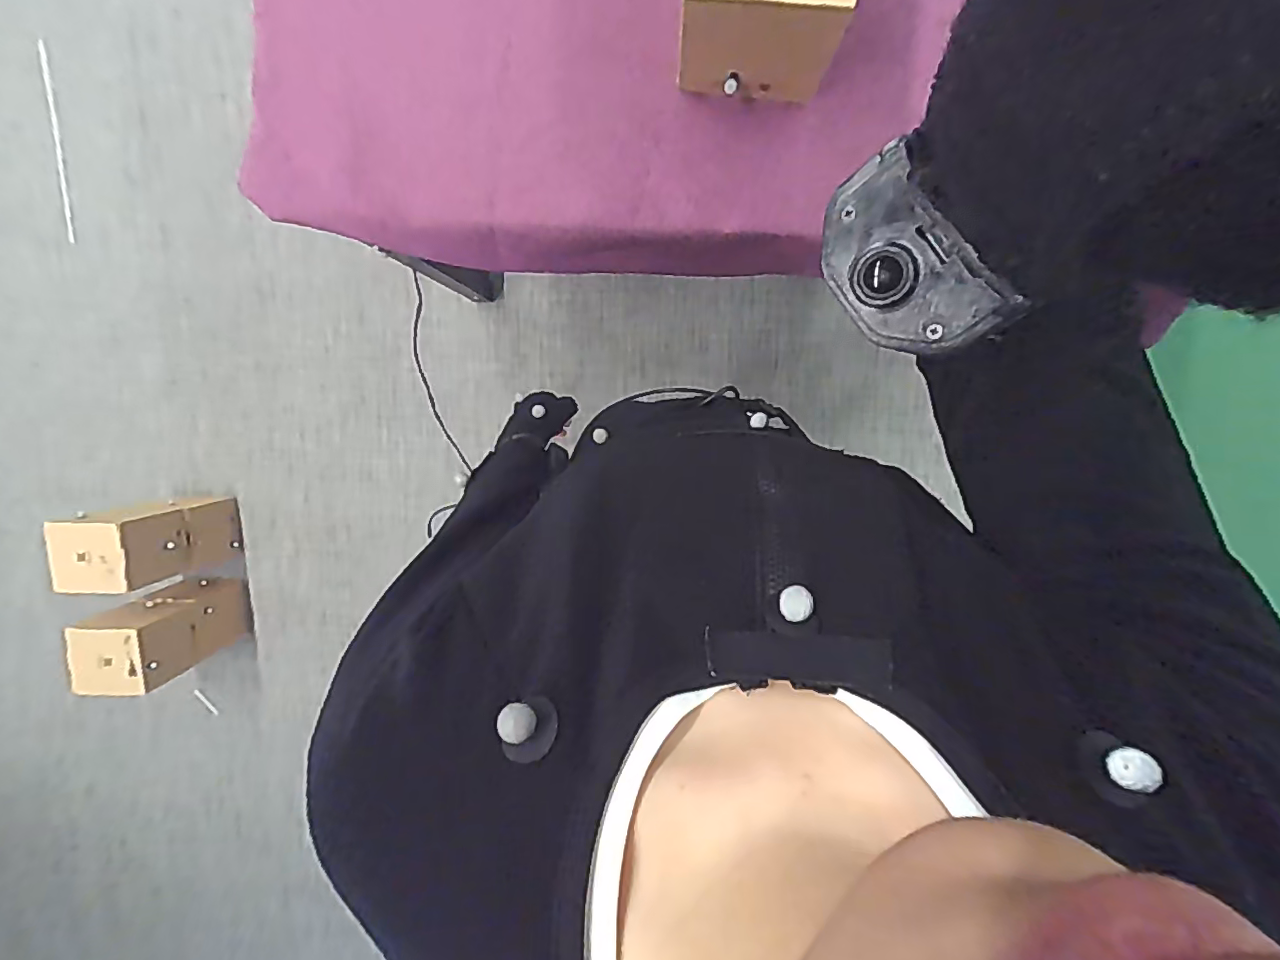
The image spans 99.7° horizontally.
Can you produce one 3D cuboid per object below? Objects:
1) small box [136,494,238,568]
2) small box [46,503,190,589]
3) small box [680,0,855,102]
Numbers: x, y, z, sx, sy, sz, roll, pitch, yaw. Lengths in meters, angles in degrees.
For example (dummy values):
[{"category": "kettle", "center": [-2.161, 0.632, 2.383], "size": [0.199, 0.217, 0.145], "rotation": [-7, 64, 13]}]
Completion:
[{"category": "small box", "center": [-1.220, 0.131, 1.451], "size": [0.179, 0.176, 0.168], "rotation": [0, 98, 3]}, {"category": "small box", "center": [-1.233, 0.152, 1.288], "size": [0.179, 0.176, 0.168], "rotation": [1, 99, 2]}, {"category": "small box", "center": [0.134, -0.551, 0.579], "size": [0.168, 0.176, 0.179], "rotation": [6, 99, 2]}]
